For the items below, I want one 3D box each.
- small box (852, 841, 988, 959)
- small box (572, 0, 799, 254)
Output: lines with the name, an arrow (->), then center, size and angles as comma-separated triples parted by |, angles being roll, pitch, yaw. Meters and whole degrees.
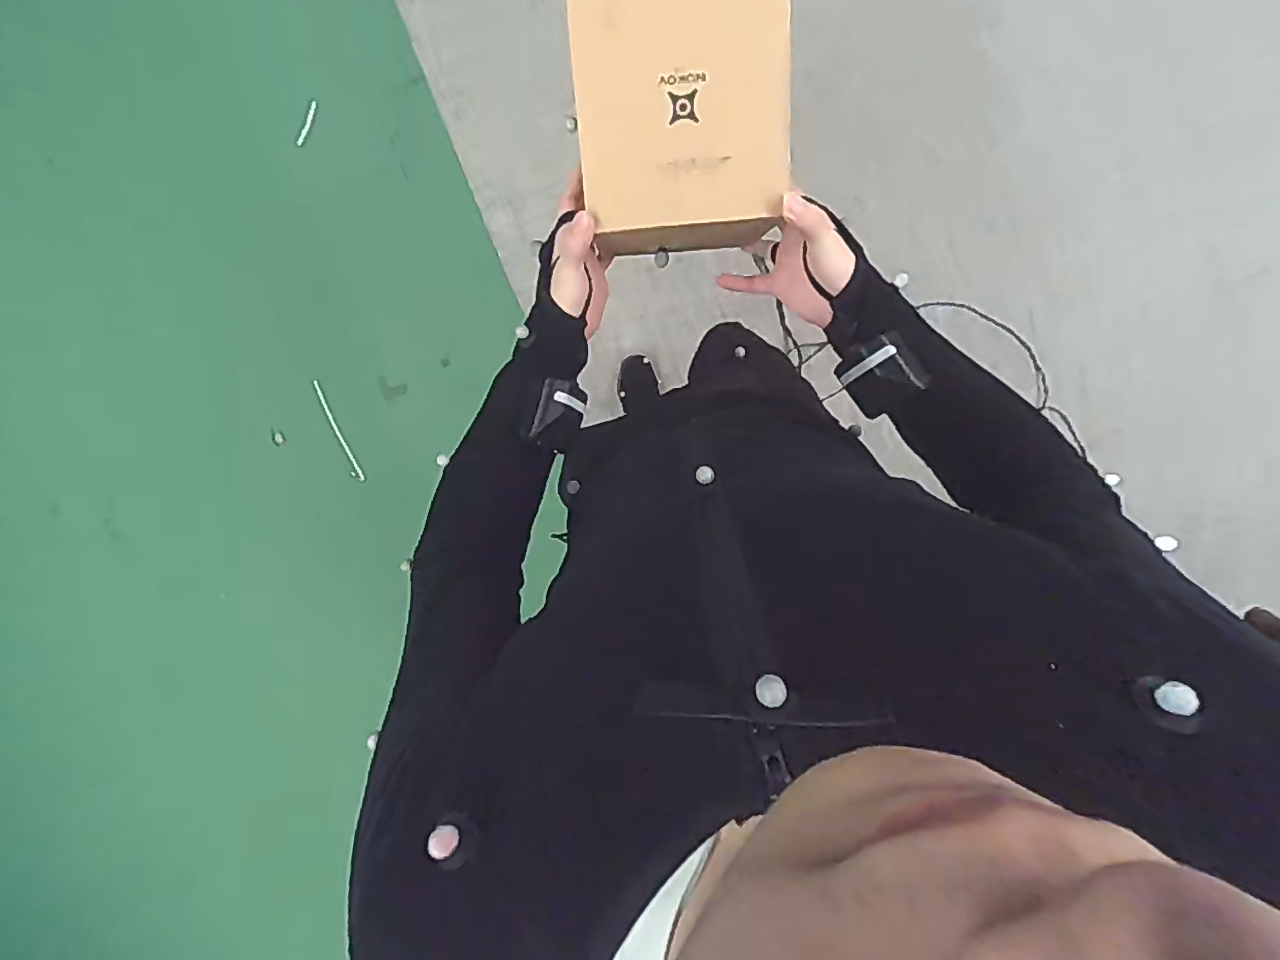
small box -> 0.506, 0.788, 0.966 | 0.168, 0.176, 0.179 | -24, 103, 4
small box -> 0.033, -0.308, 0.476 | 0.168, 0.176, 0.179 | -3, 106, 1
